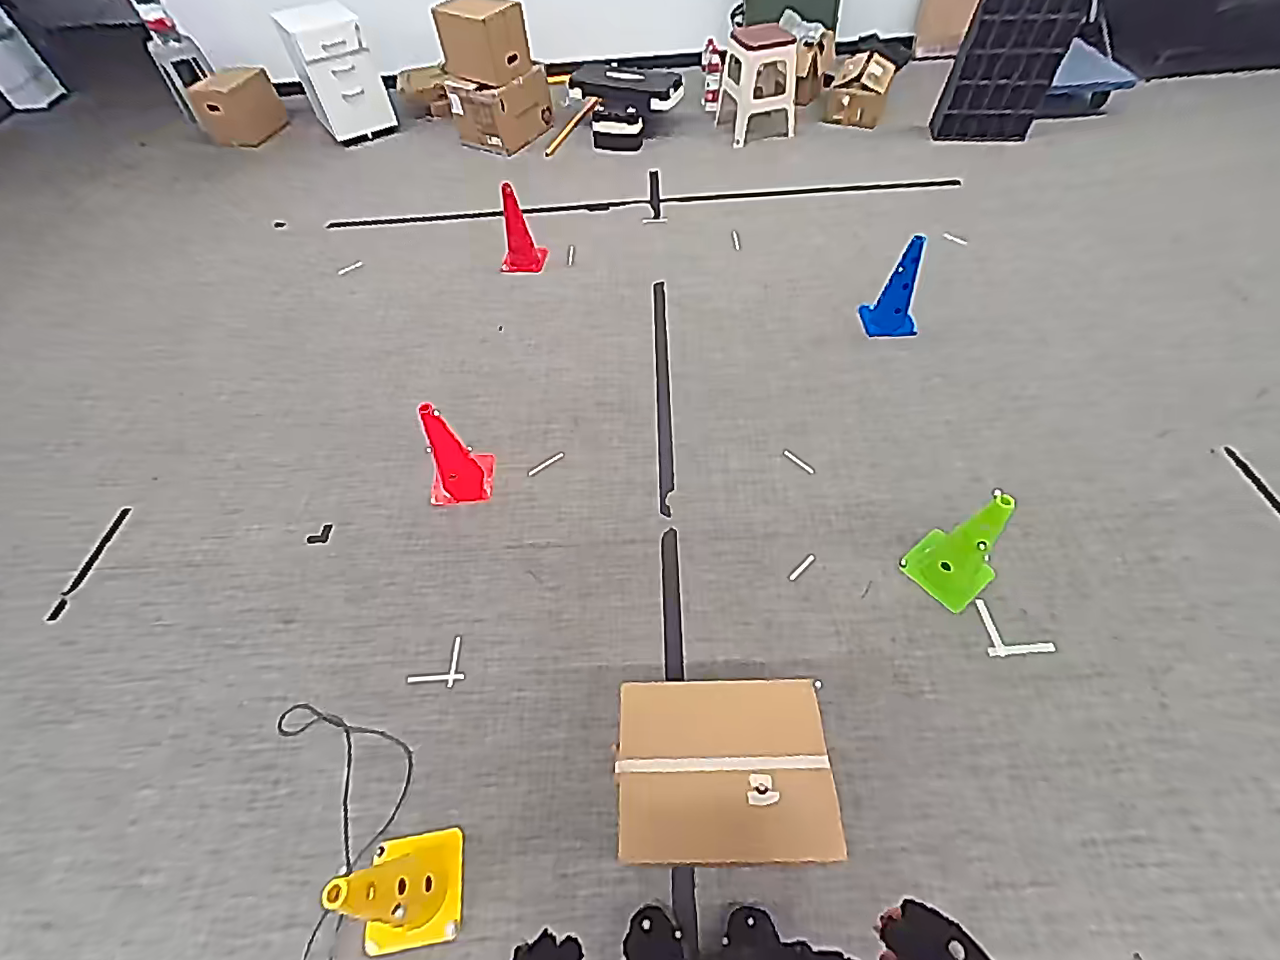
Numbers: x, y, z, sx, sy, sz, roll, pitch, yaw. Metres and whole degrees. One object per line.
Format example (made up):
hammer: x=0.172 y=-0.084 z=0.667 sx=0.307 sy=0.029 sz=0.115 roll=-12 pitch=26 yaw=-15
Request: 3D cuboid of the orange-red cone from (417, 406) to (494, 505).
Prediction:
orange-red cone: x=-0.613 y=-0.099 z=1.703 sx=0.198 sy=0.360 sz=0.199 roll=-5 pitch=55 yaw=1

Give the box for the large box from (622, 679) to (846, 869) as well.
large box: x=0.169 y=0.637 z=1.162 sx=0.408 sy=0.320 sz=0.320 roll=-2 pitch=53 yaw=2

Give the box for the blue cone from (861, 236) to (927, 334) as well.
blue cone: x=1.007 y=-0.756 z=2.084 sx=0.192 sy=0.380 sz=0.193 roll=0 pitch=54 yaw=3

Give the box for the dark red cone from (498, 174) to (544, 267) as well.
dark red cone: x=-0.571 y=-1.169 z=2.442 sx=0.201 sy=0.394 sz=0.202 roll=2 pitch=55 yaw=4

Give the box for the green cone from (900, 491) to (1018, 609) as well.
green cone: x=0.877 y=0.150 z=1.418 sx=0.202 sy=0.368 sz=0.200 roll=-34 pitch=60 yaw=-21
